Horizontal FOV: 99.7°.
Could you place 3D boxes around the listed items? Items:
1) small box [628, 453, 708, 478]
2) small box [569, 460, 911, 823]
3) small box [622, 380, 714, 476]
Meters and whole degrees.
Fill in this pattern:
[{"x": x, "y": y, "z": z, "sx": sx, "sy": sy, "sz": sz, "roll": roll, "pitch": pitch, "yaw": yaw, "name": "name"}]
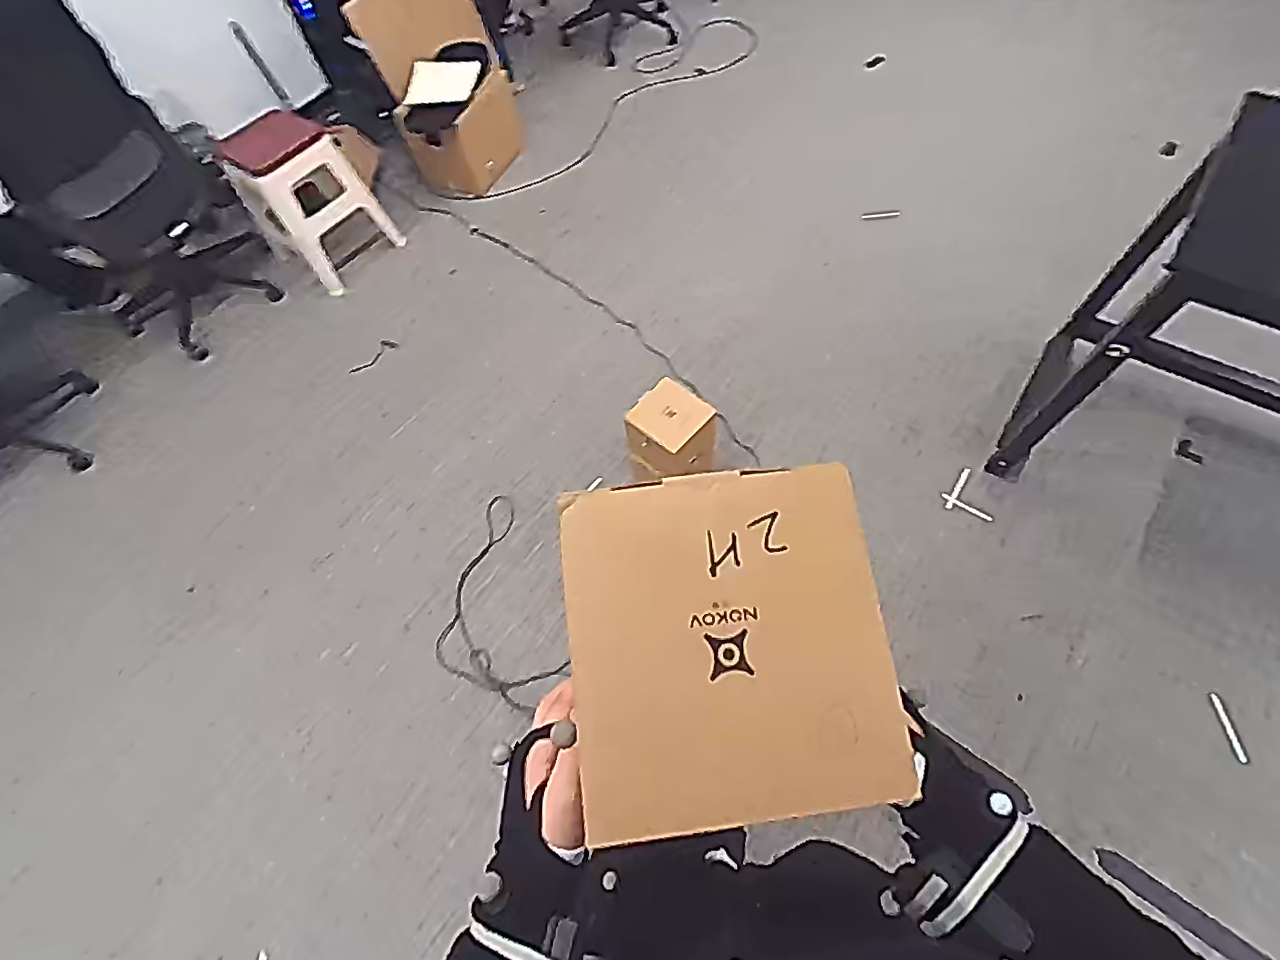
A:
[{"x": 0.089, "y": -0.042, "z": 1.570, "sx": 0.168, "sy": 0.176, "sz": 0.179, "roll": 33, "pitch": 70, "yaw": 20, "name": "small box"}, {"x": 0.047, "y": 0.099, "z": 0.366, "sx": 0.168, "sy": 0.176, "sz": 0.179, "roll": -5, "pitch": 74, "yaw": -3, "name": "small box"}, {"x": 0.076, "y": -0.124, "z": 1.428, "sx": 0.179, "sy": 0.176, "sz": 0.168, "roll": 38, "pitch": 72, "yaw": 21, "name": "small box"}]
